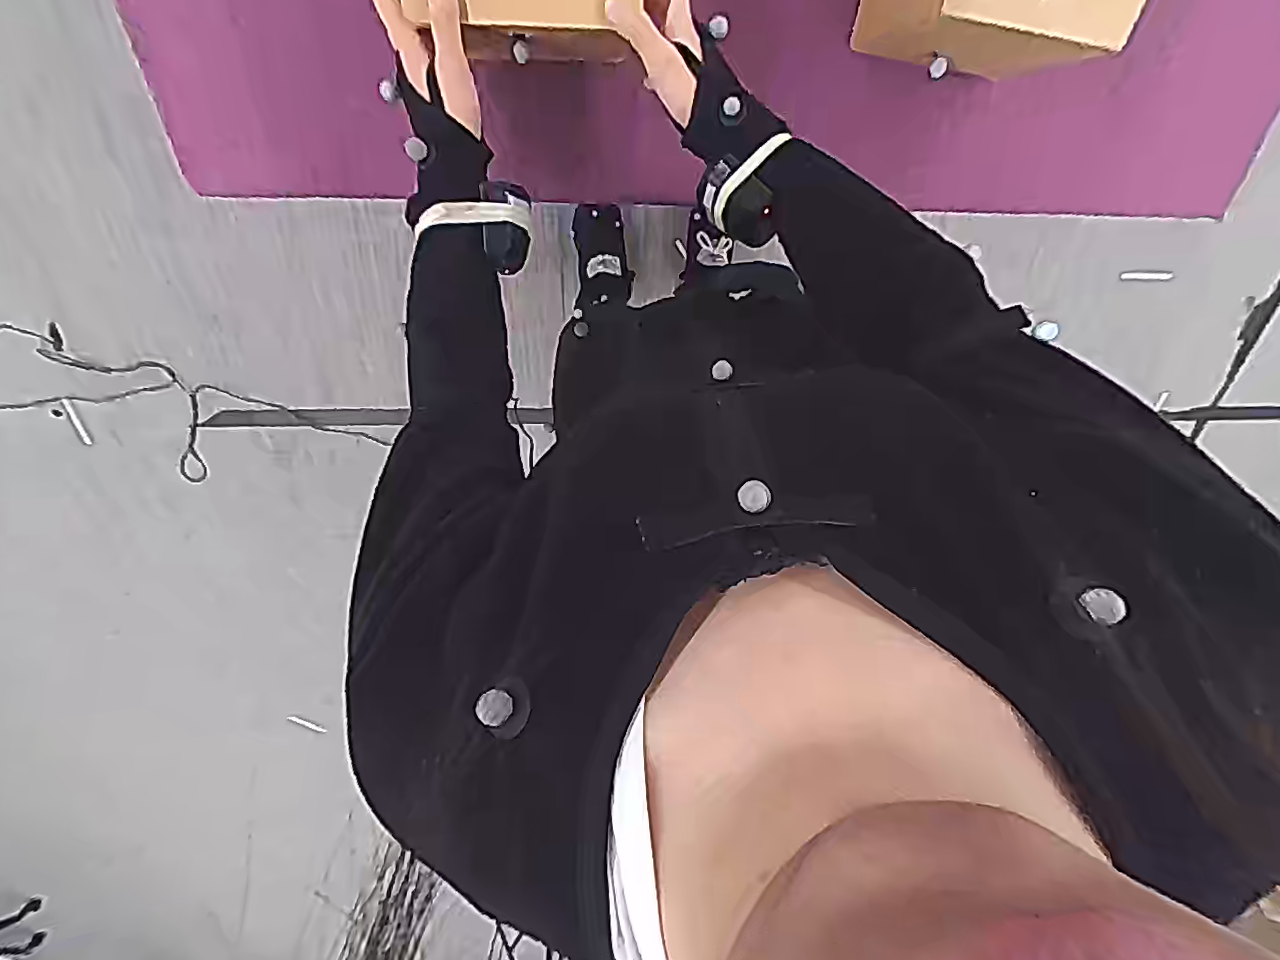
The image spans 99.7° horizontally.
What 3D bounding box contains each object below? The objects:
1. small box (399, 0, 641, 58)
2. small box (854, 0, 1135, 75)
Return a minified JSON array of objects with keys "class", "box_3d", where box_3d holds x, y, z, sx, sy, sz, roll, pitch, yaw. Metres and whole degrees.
[{"class":"small box","box_3d":[-0.094,-0.447,0.424,0.179,0.176,0.168,-2,122,-5]},{"class":"small box","box_3d":[0.309,-0.471,0.456,0.168,0.176,0.179,4,121,-9]}]
